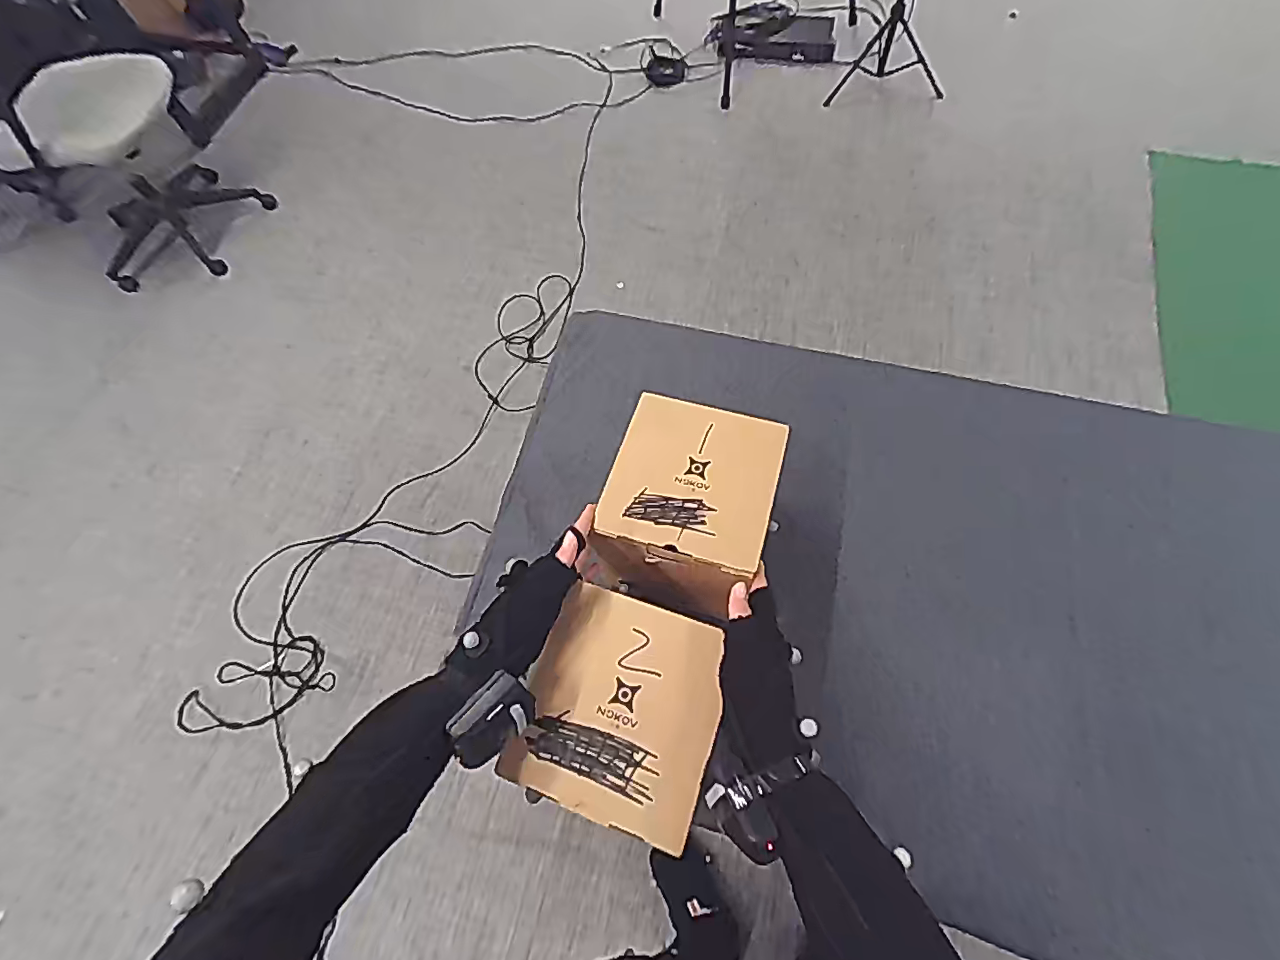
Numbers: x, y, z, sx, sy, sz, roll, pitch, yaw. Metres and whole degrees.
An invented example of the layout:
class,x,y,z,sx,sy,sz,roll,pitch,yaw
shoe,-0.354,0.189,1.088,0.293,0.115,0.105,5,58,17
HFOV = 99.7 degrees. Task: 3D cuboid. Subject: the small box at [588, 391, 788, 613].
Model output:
class,x,y,z,sx,sy,sz,roll,pitch,yaw
small box,0.056,0.032,0.616,0.168,0.176,0.179,15,62,10
